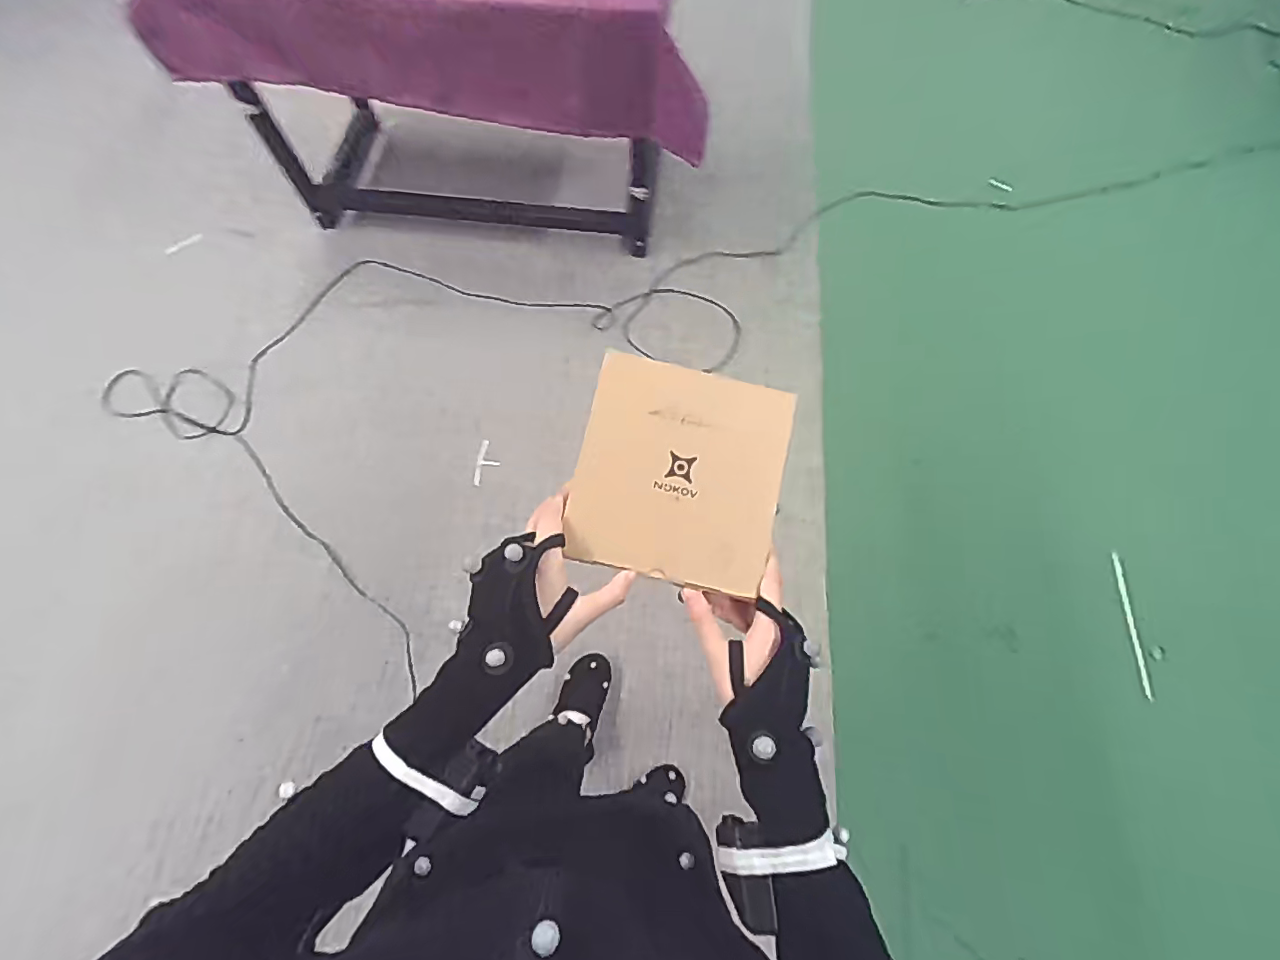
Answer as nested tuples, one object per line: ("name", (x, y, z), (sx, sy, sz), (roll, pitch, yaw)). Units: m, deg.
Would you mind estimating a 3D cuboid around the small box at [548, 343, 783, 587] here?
("small box", (0.020, -0.002, 0.522), (0.168, 0.176, 0.179), (13, 79, -2))
